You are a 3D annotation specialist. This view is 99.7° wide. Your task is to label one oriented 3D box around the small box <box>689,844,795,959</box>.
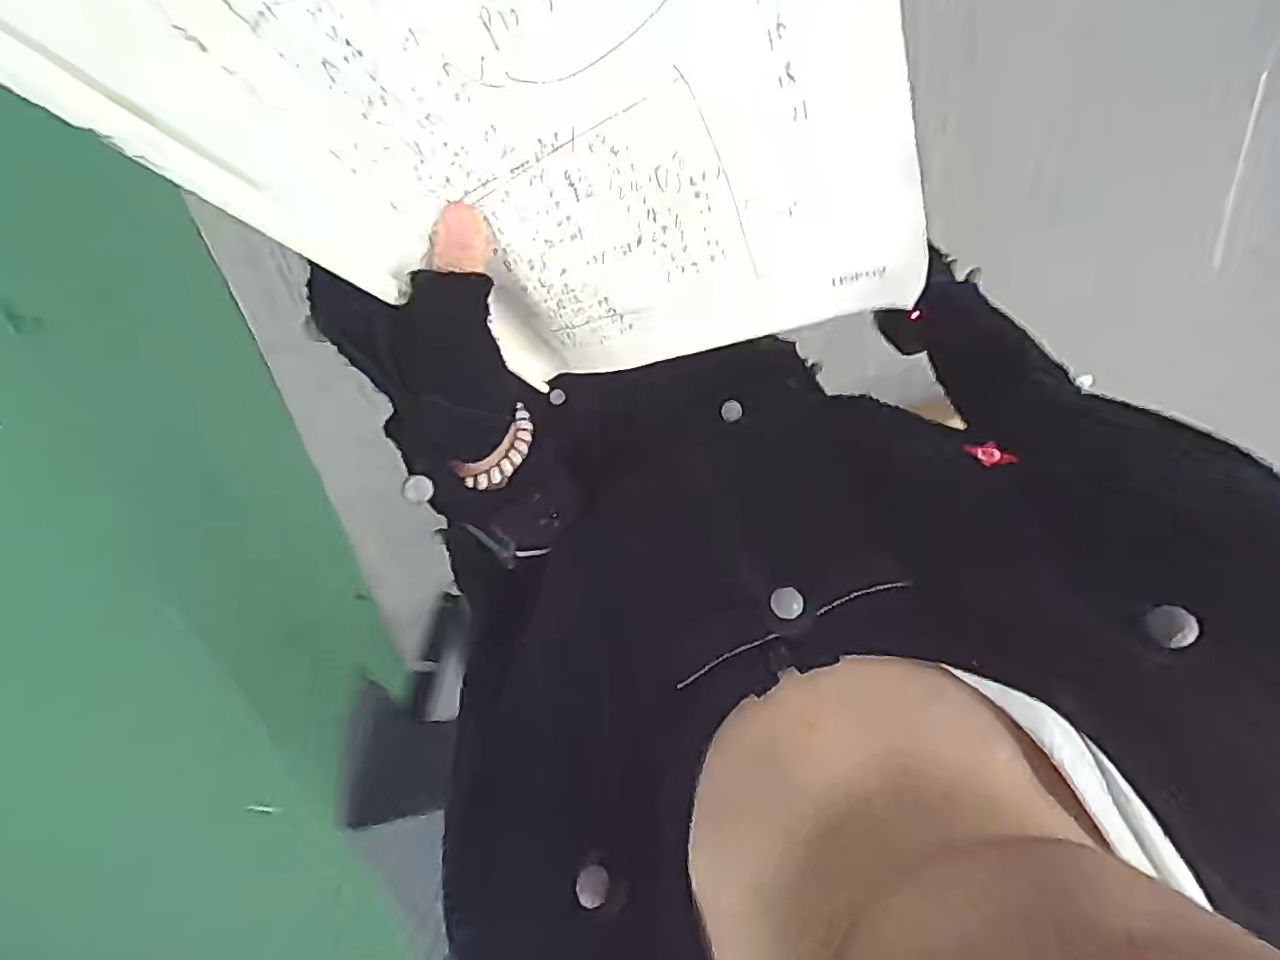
[{"bbox_3d":[0.199,0.868,1.072,0.168,0.176,0.179,-10,114,-4],"label":"small box"}]
